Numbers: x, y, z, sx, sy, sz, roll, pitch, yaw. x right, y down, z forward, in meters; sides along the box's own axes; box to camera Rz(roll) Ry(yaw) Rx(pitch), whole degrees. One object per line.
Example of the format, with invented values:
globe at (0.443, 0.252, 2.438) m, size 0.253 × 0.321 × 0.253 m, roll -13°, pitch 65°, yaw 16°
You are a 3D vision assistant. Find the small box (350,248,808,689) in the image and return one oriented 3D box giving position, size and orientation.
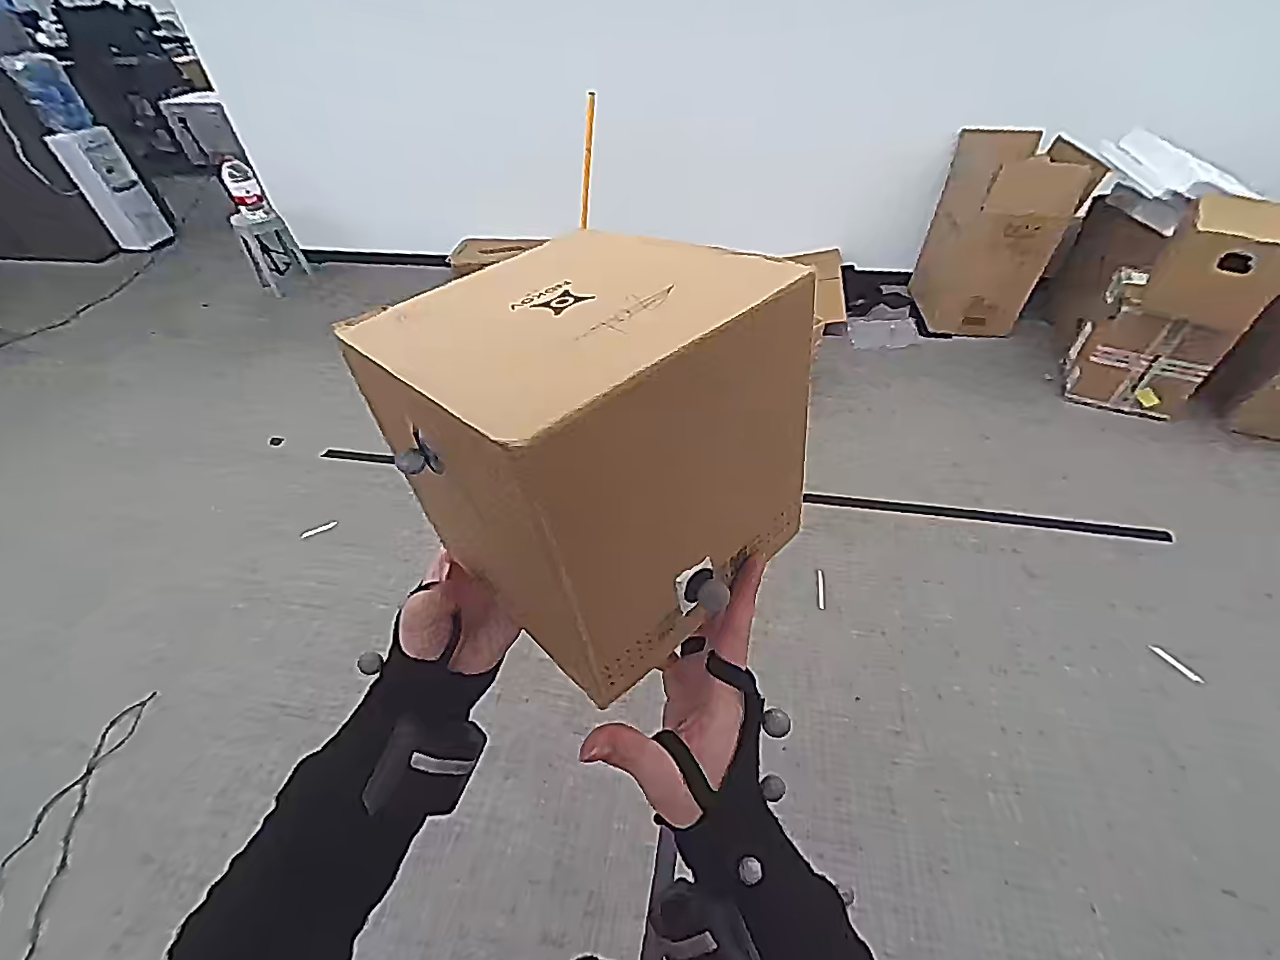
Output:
small box at (-0.025, -0.017, 0.318) m, size 0.179 × 0.176 × 0.168 m, roll 28°, pitch 54°, yaw 36°
